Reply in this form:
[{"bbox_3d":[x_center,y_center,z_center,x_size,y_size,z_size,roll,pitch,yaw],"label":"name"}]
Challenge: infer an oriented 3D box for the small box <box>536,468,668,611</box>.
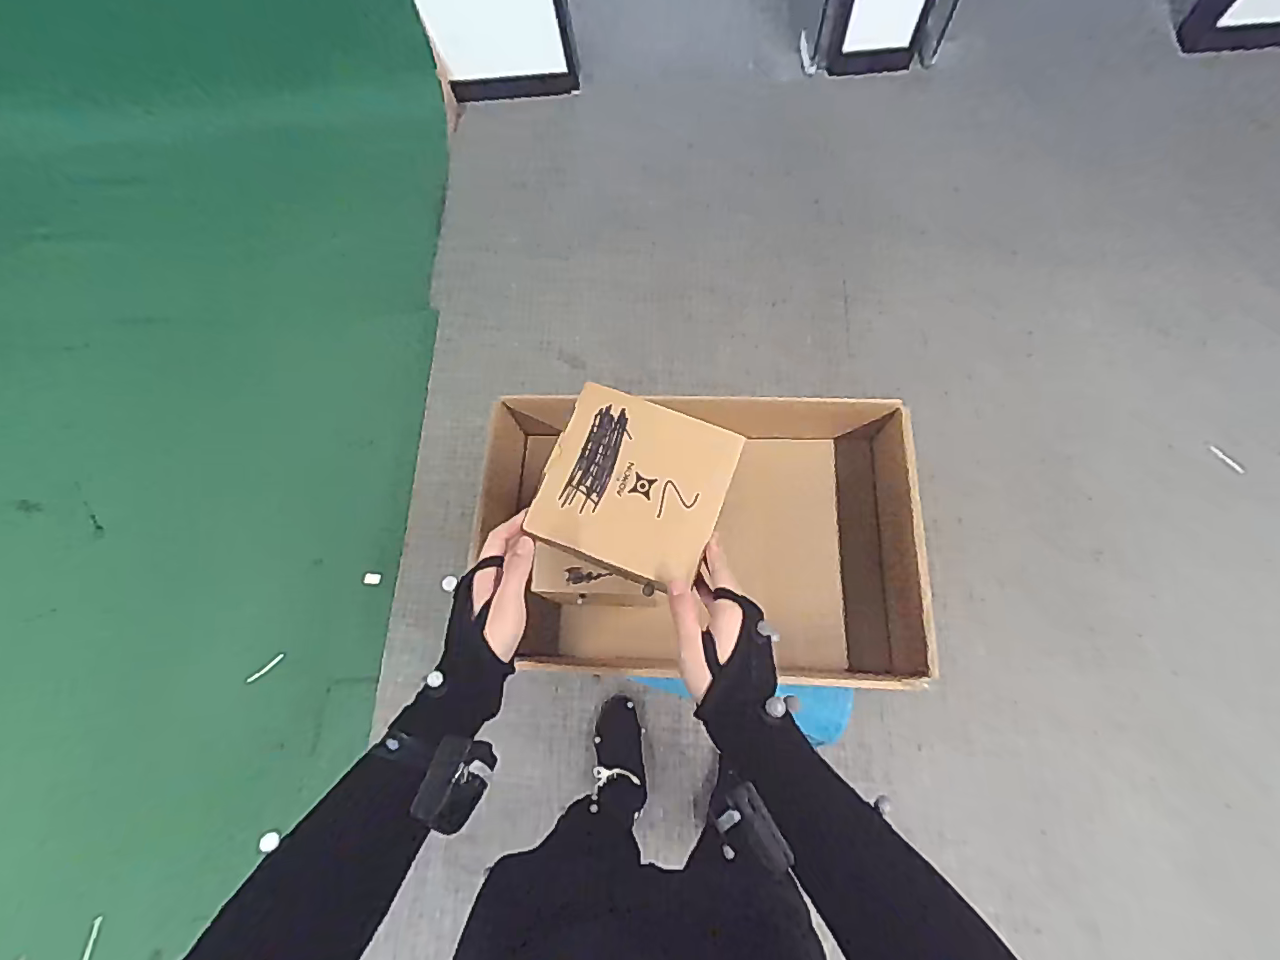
[{"bbox_3d":[-0.045,0.093,0.803,0.168,0.176,0.179,1,71,6],"label":"small box"}]
